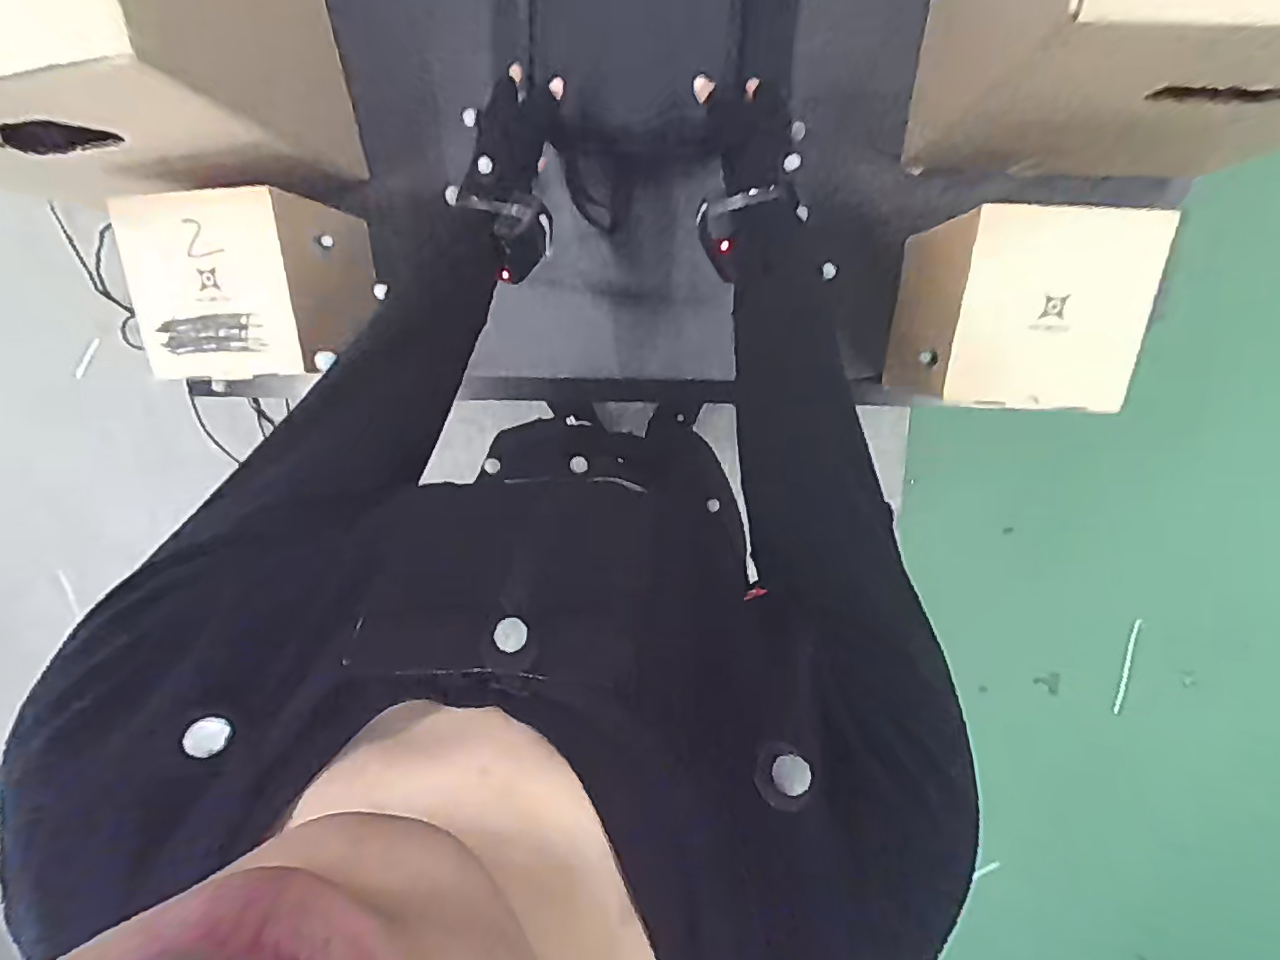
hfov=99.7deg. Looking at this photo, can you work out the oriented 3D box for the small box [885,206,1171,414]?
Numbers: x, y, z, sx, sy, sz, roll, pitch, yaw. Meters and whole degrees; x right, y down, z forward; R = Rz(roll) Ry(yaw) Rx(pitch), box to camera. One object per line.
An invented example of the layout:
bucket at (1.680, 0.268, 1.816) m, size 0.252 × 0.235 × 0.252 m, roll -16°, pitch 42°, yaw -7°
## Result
small box at (0.380, -0.173, 0.570) m, size 0.168 × 0.176 × 0.179 m, roll 4°, pitch 107°, yaw 3°
